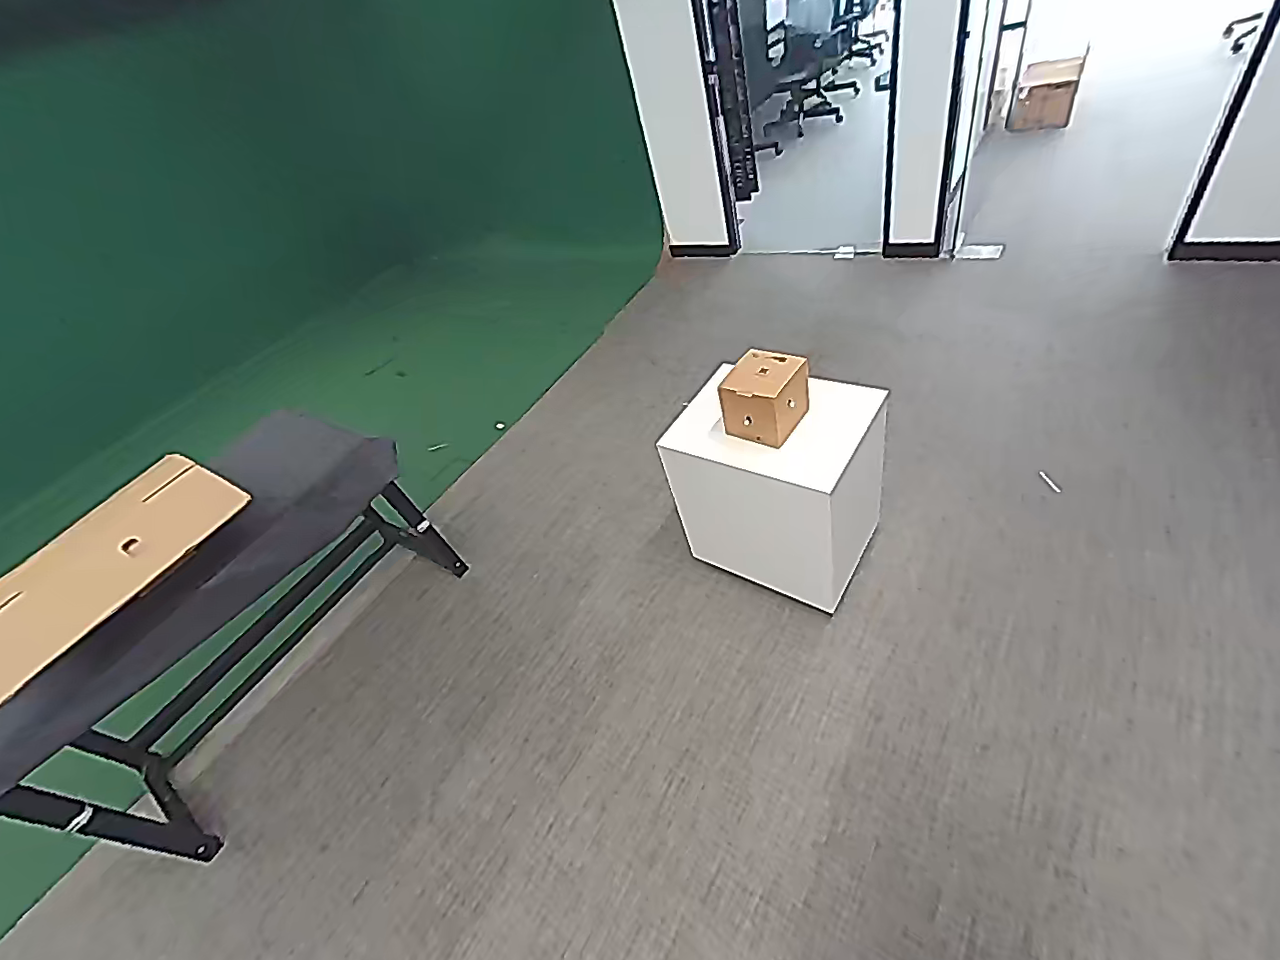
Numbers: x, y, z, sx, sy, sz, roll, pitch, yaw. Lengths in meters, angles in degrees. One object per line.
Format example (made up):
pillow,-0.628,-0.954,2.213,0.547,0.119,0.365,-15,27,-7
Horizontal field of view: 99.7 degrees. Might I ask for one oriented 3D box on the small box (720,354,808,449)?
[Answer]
small box,0.335,-0.207,1.432,0.168,0.176,0.179,18,55,34
